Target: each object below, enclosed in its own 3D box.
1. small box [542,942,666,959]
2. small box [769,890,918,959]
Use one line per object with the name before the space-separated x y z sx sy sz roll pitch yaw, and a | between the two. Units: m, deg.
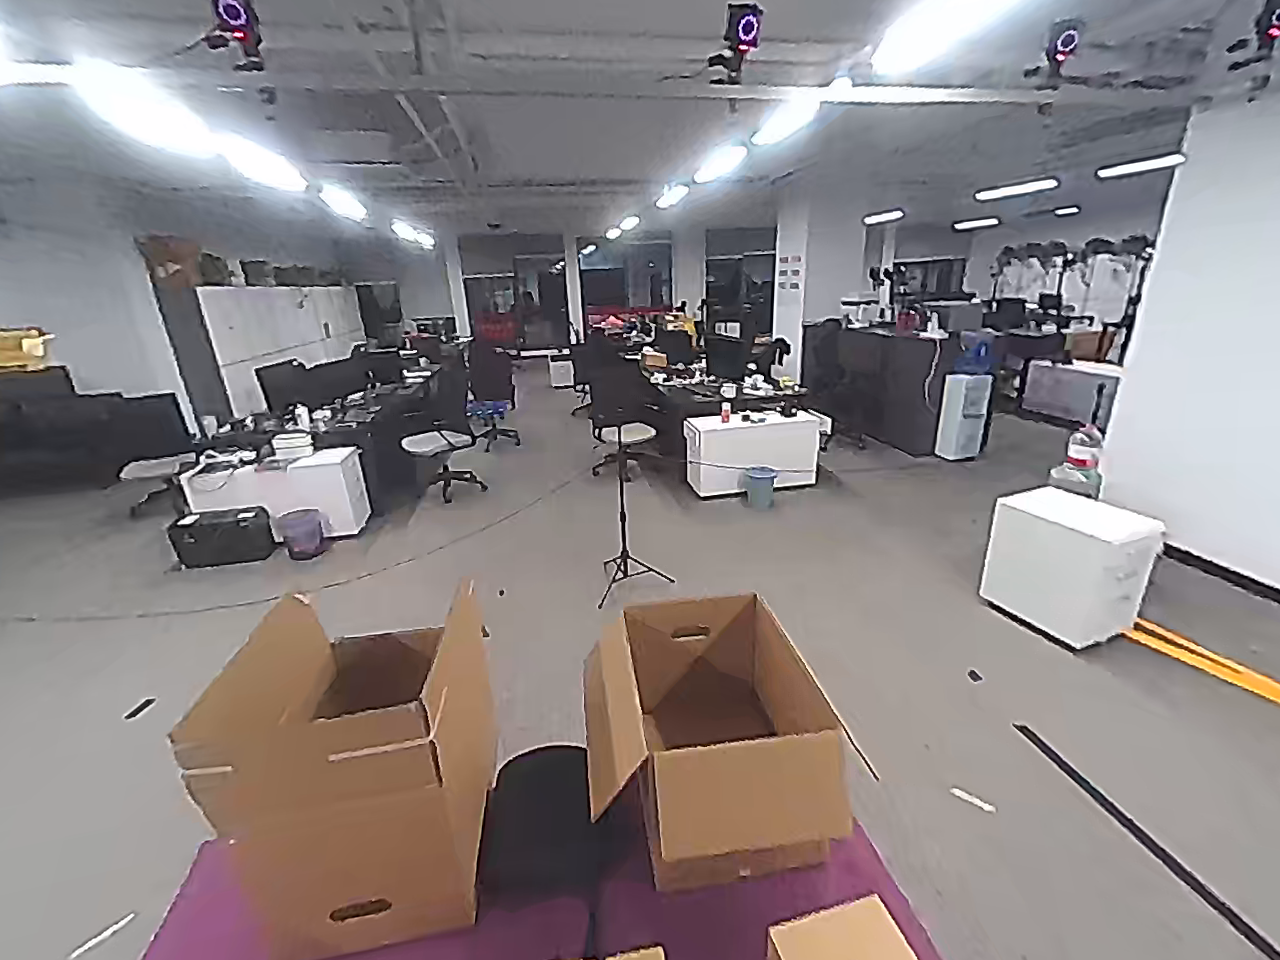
small box | -0.038 0.714 0.647 0.168 0.176 0.179 -5 21 -5
small box | 0.271 0.683 0.686 0.168 0.176 0.179 -8 21 -11
